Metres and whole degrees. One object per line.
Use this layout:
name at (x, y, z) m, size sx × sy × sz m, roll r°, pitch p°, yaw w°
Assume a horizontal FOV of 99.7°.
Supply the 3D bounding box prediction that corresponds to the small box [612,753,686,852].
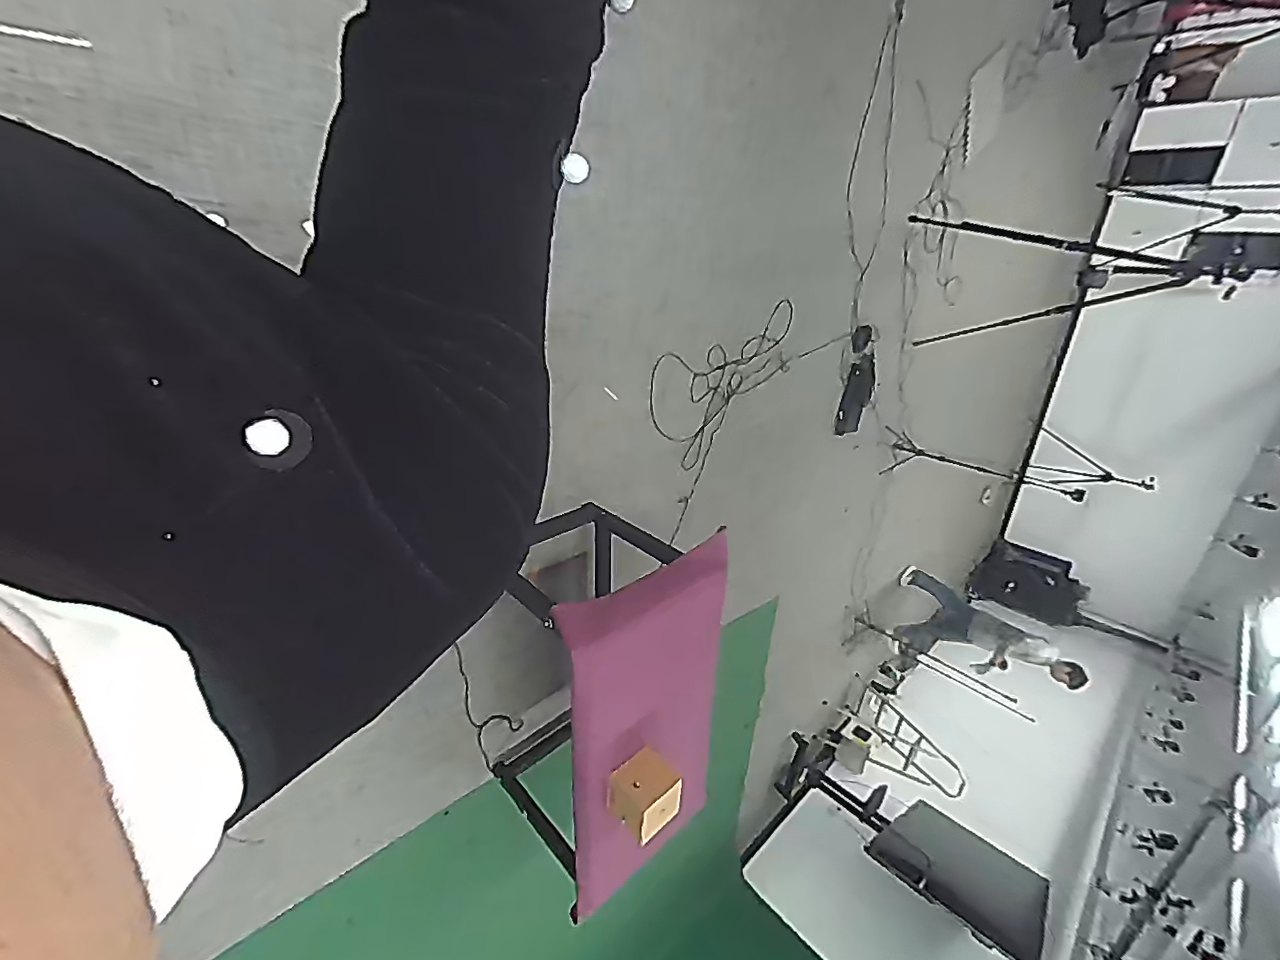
small box at (0.024, 1.034, 1.747) m, size 0.179 × 0.176 × 0.168 m, roll -18°, pitch 121°, yaw -41°
